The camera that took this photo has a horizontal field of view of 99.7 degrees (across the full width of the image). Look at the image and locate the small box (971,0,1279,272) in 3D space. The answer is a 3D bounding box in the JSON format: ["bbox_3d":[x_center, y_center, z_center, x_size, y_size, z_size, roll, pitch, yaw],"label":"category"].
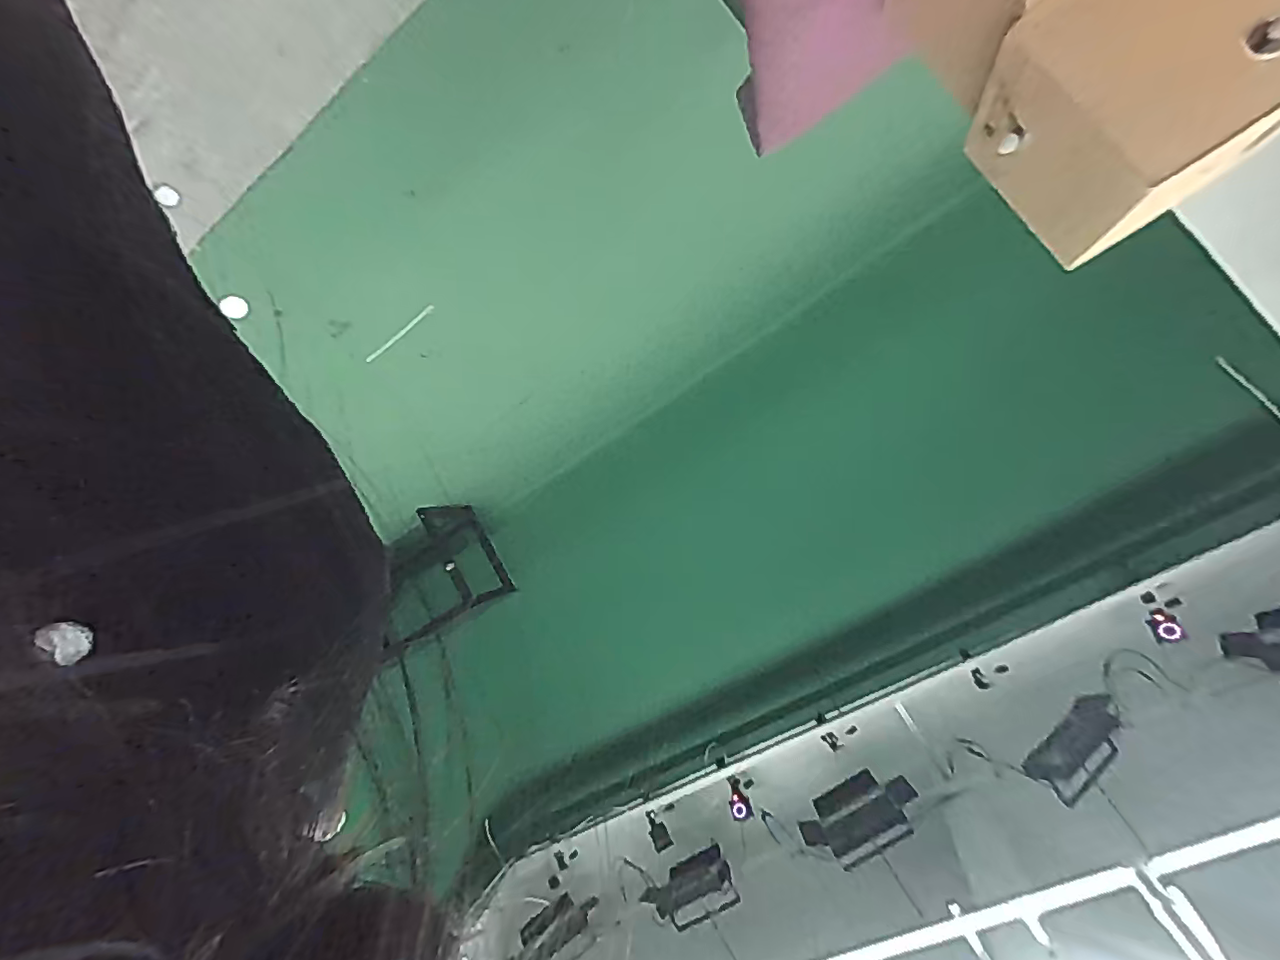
[{"bbox_3d":[0.416,-0.315,0.437,0.179,0.176,0.168,-34,169,17],"label":"small box"}]

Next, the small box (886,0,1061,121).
[{"bbox_3d":[0.337,-0.459,0.446,0.179,0.176,0.168,-35,169,17],"label":"small box"}]
